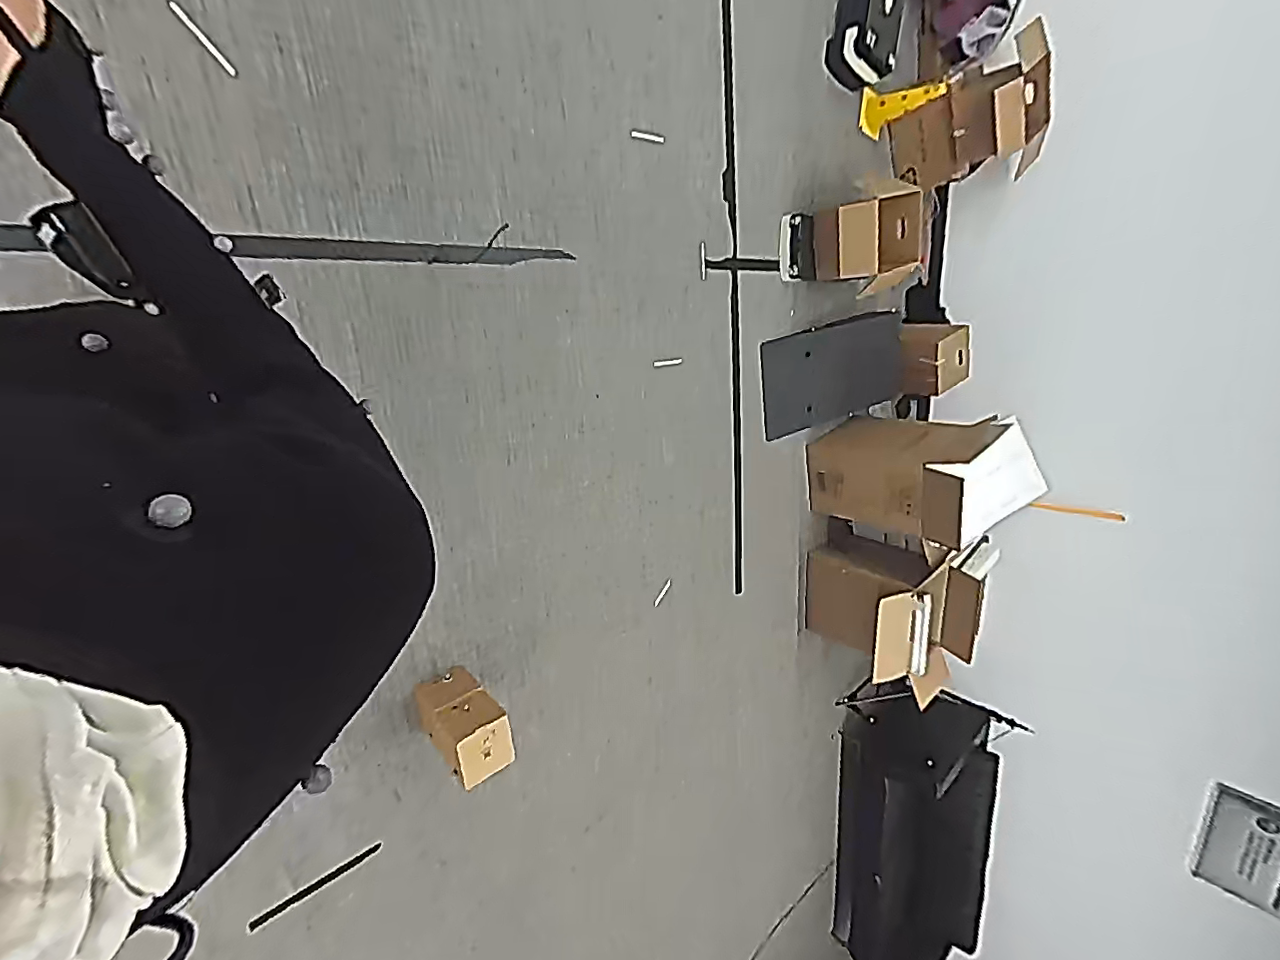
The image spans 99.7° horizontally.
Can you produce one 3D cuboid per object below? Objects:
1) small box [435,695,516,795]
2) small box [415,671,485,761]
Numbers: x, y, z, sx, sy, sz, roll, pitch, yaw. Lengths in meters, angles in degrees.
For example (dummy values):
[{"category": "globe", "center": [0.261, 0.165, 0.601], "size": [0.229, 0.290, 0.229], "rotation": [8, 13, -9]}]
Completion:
[{"category": "small box", "center": [-0.497, 0.791, 1.629], "size": [0.168, 0.176, 0.179], "rotation": [-19, 111, -39]}, {"category": "small box", "center": [-0.606, 0.755, 1.747], "size": [0.168, 0.176, 0.179], "rotation": [-18, 112, -39]}]
